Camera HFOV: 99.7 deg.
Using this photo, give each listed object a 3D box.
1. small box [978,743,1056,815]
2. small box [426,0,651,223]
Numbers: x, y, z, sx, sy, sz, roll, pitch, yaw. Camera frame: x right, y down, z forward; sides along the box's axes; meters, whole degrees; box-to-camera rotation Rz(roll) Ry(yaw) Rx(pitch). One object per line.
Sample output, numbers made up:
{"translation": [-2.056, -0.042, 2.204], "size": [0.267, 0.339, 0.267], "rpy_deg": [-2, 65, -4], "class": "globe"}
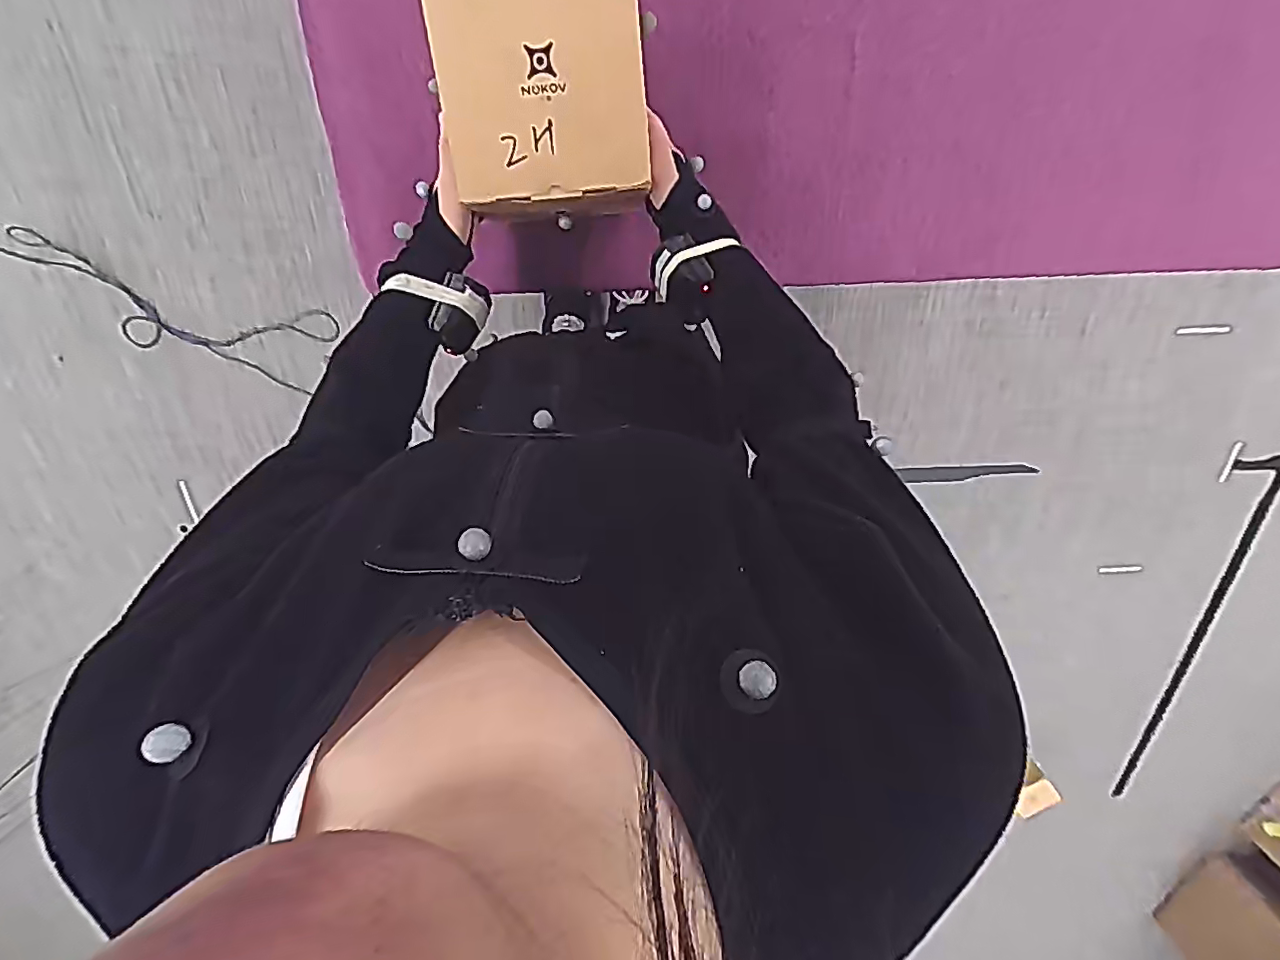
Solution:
{"translation": [1.496, 1.184, 2.156], "size": [0.168, 0.176, 0.179], "rpy_deg": [-37, 113, 13], "class": "small box"}
{"translation": [-0.083, -0.349, 0.500], "size": [0.168, 0.176, 0.179], "rpy_deg": [-6, 110, -1], "class": "small box"}
